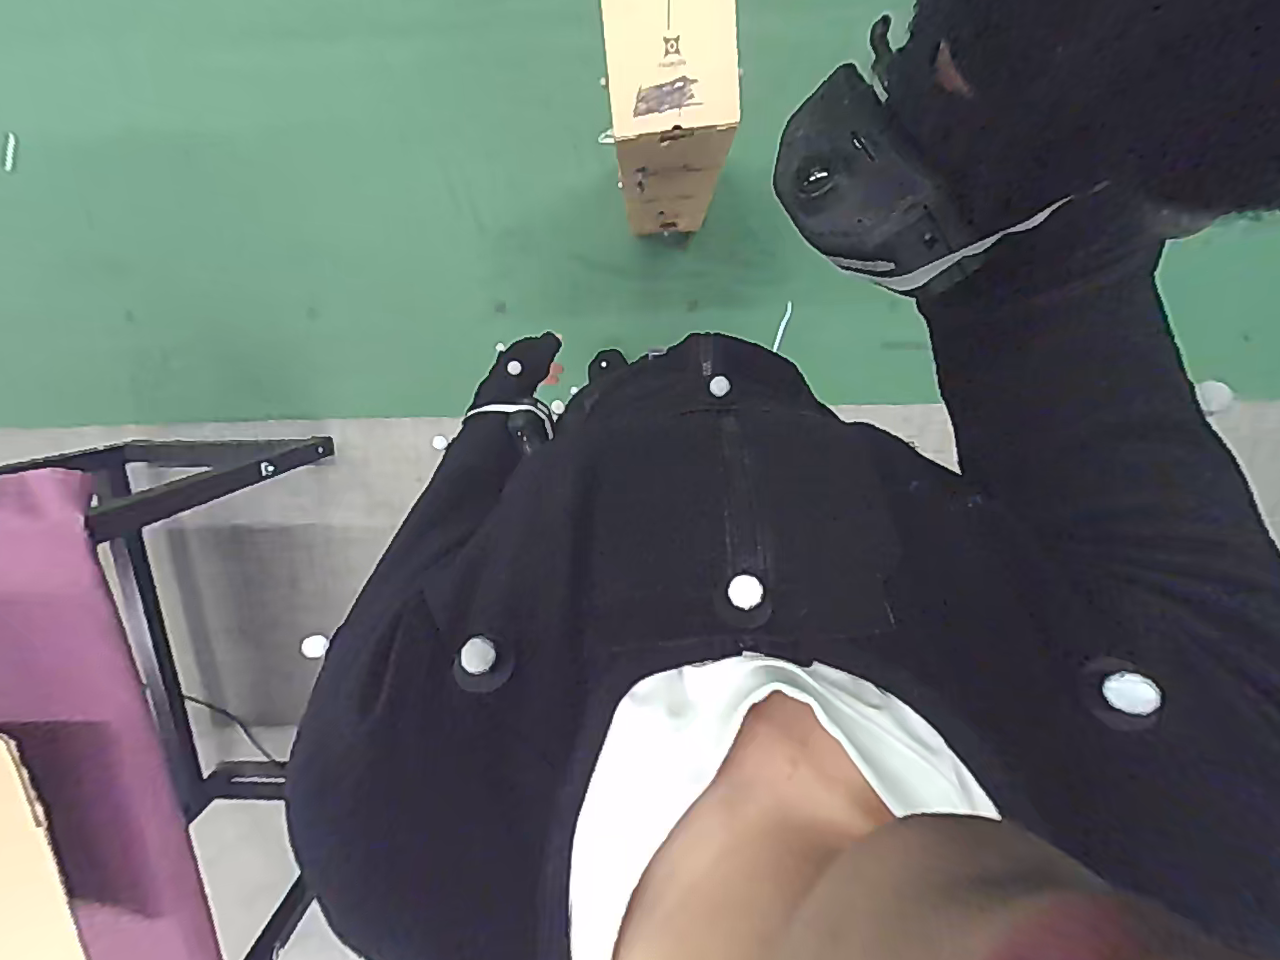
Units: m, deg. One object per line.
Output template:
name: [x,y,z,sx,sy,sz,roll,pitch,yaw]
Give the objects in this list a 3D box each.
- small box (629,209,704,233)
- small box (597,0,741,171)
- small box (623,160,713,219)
small box: [0.055,-0.675,1.225,0.168,0.176,0.179,-2,105,2]
small box: [0.041,-0.550,0.751,0.168,0.176,0.179,-8,106,3]
small box: [0.050,-0.633,1.068,0.168,0.176,0.179,-4,106,2]
